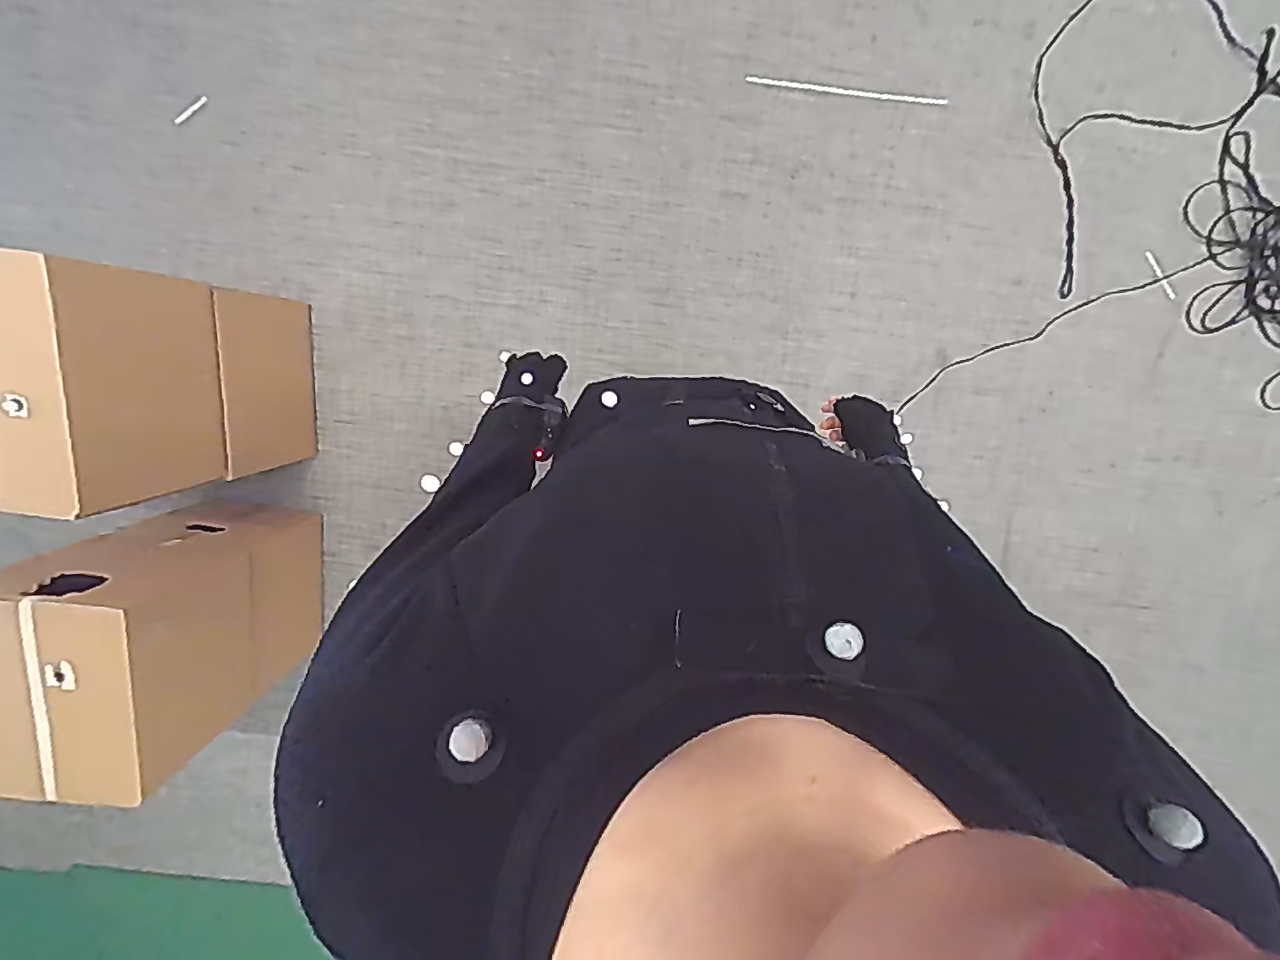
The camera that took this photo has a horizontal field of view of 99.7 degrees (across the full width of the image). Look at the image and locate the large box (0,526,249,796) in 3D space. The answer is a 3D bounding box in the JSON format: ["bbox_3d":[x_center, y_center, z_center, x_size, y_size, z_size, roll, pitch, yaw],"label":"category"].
[{"bbox_3d":[-1.052,0.341,1.093,0.320,0.320,0.408,7,102,-3],"label":"large box"}]
